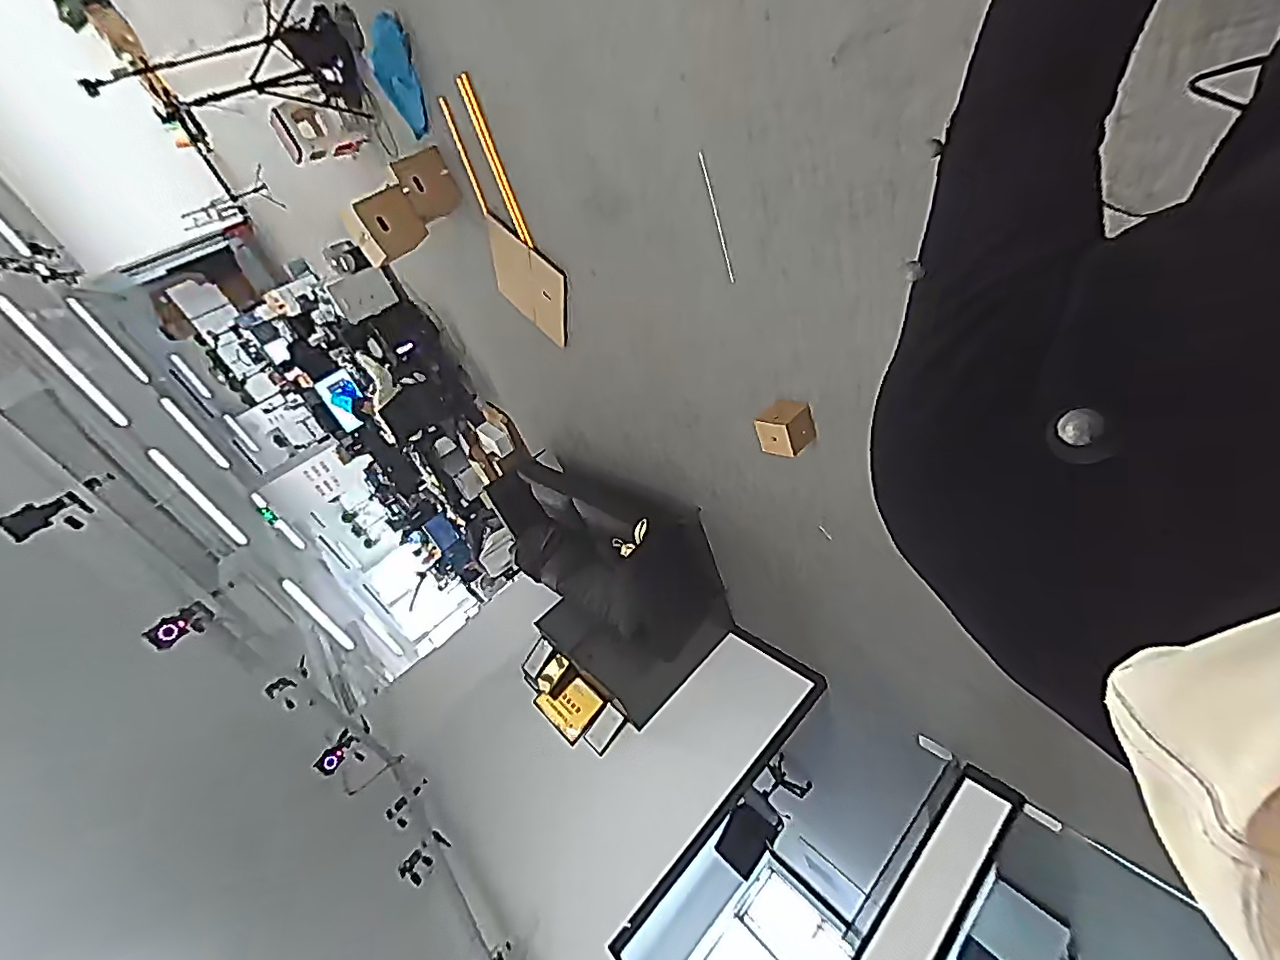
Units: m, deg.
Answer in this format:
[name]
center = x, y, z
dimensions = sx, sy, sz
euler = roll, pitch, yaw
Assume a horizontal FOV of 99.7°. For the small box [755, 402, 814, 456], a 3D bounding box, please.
[small box]
center = 0.638, -0.227, 2.358
dimensions = 0.179, 0.176, 0.168
euler = 18, 140, 51
